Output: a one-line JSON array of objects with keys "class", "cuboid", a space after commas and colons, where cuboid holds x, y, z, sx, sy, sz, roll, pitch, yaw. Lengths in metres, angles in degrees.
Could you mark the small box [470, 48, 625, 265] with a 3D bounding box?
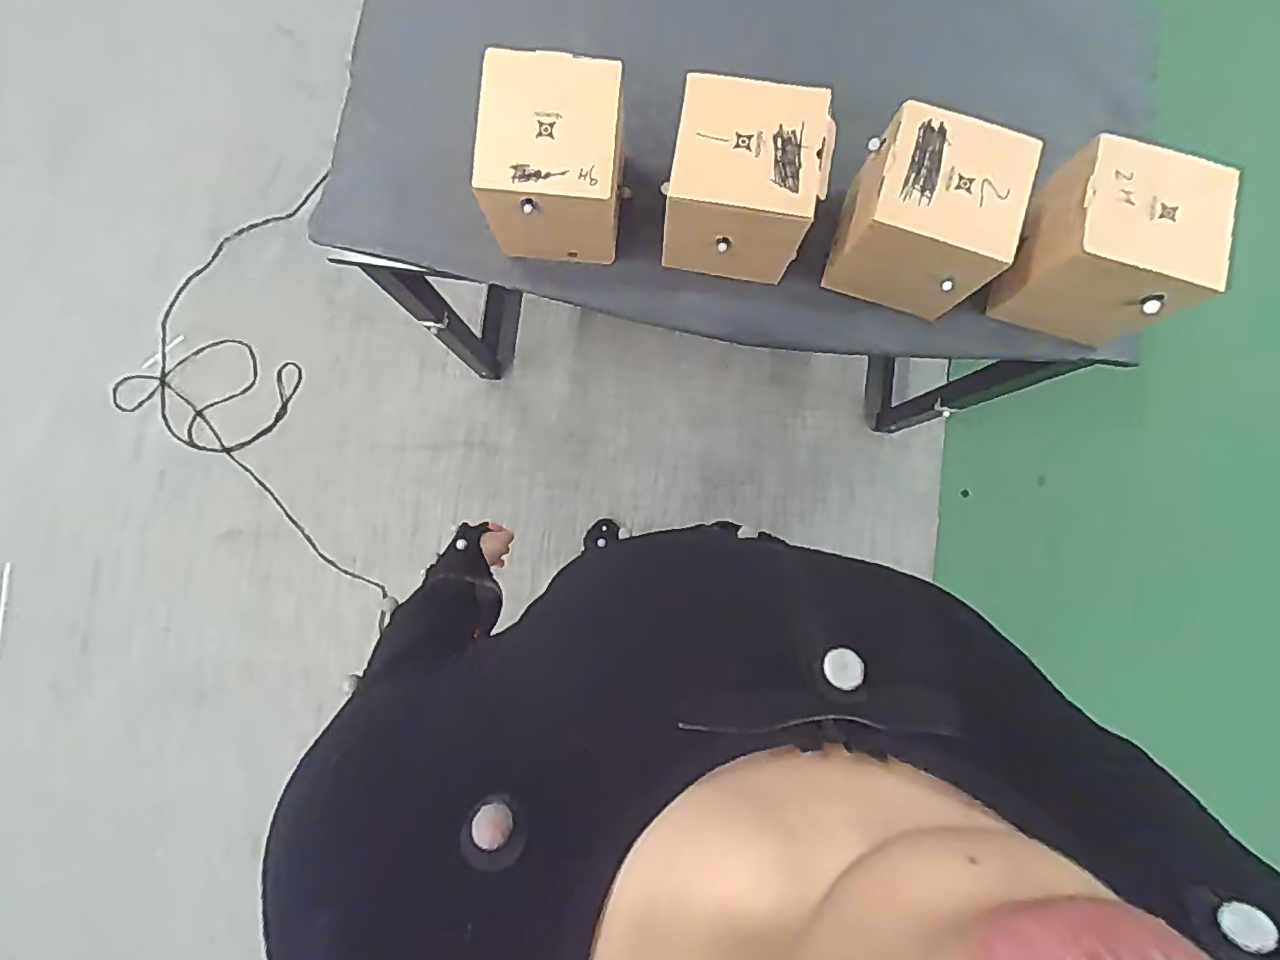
[{"class": "small box", "cuboid": [-0.110, -0.415, 0.716, 0.168, 0.176, 0.179, 6, 86, 1]}]
